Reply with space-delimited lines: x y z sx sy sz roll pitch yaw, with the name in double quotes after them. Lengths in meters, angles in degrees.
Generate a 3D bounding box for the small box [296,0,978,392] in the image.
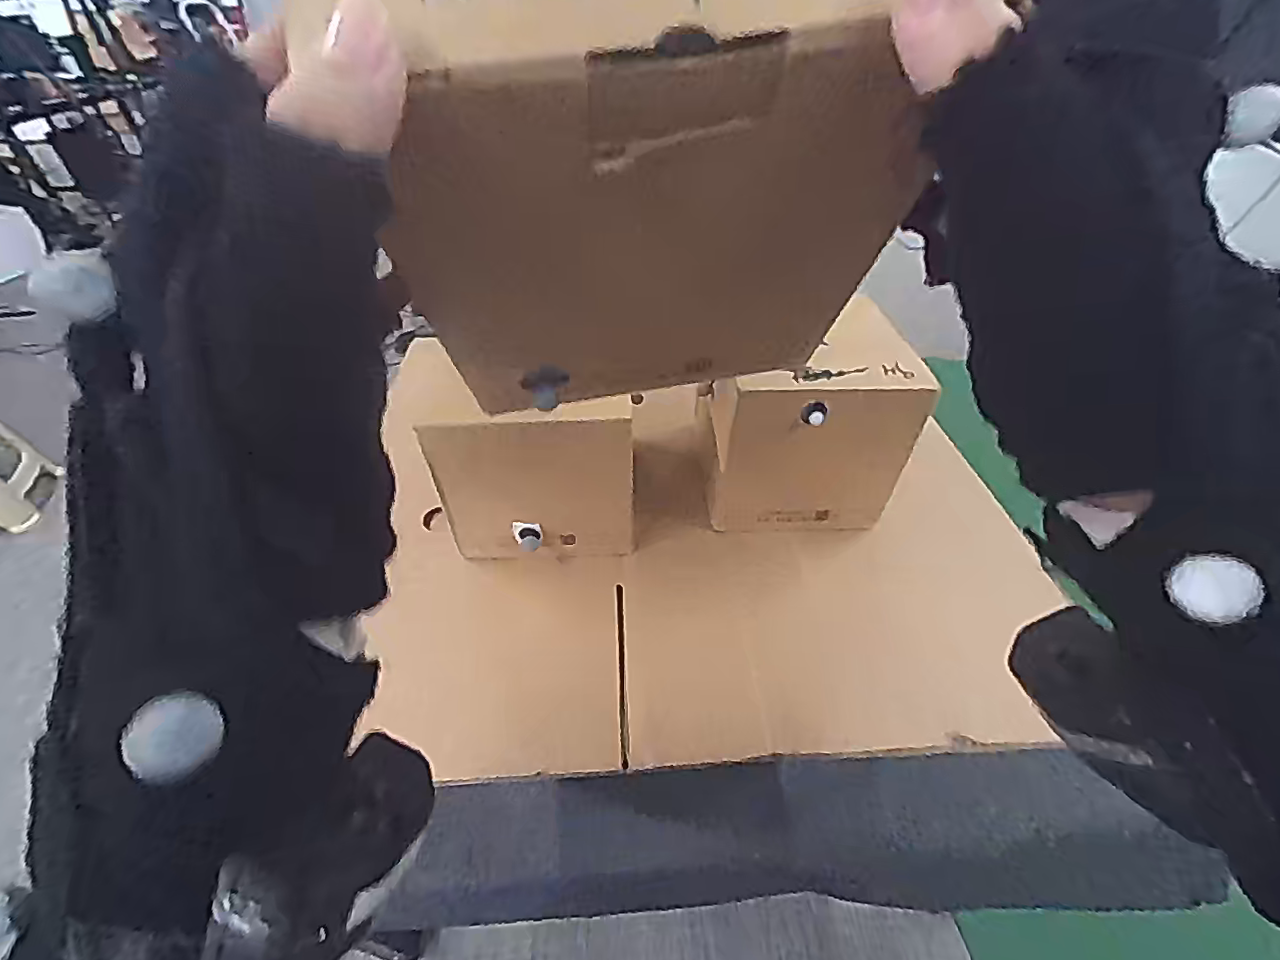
-0.012 -0.151 0.227 0.168 0.176 0.179 -10 73 -4 "small box"

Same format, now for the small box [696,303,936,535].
0.152 -0.065 0.545 0.168 0.176 0.179 0 42 -2 "small box"

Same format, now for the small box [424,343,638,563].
-0.088 -0.040 0.529 0.168 0.176 0.179 -4 45 -1 "small box"
